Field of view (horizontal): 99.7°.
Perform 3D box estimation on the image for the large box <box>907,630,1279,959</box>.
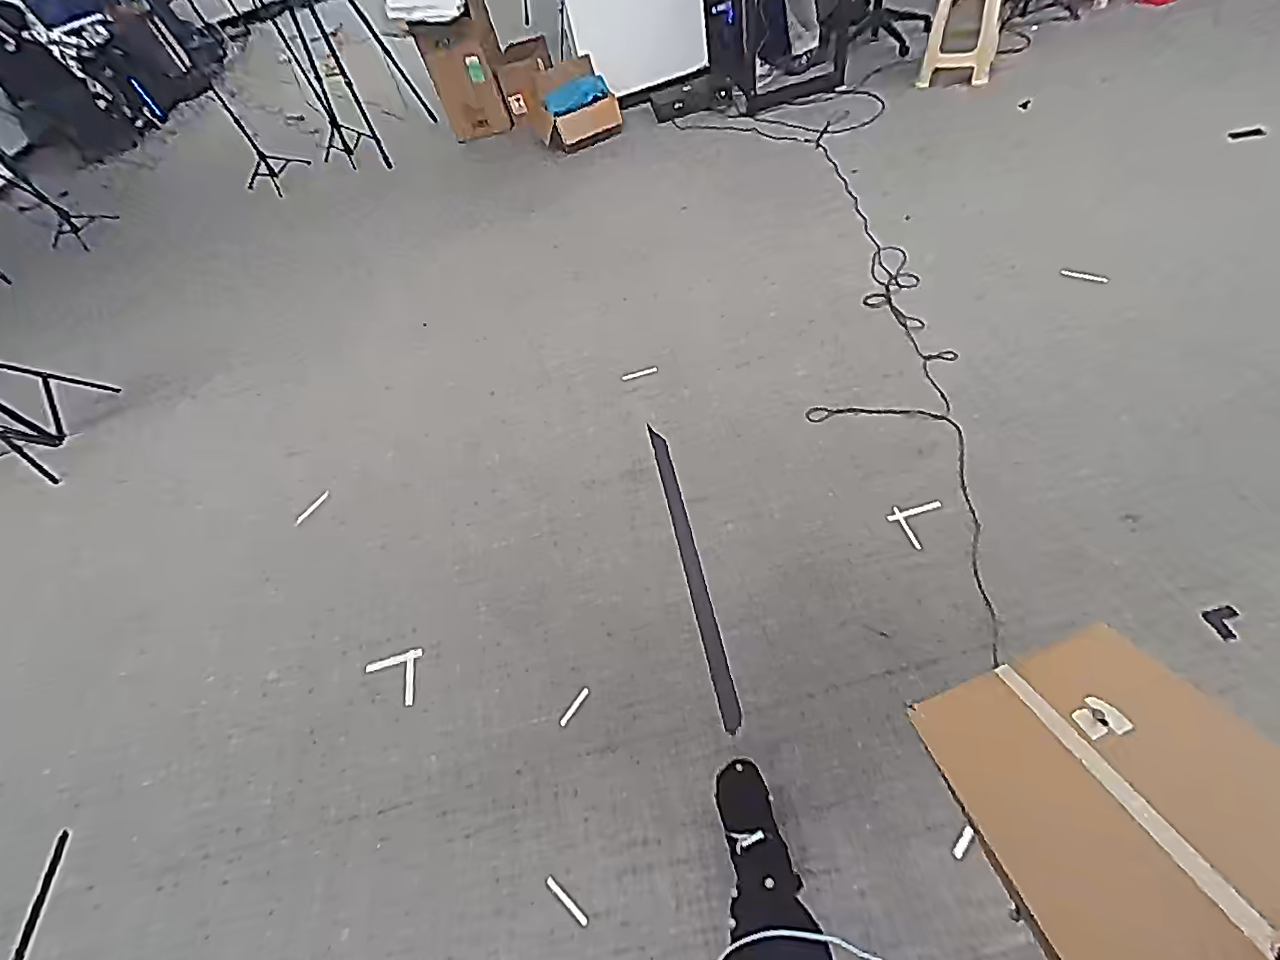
[{"bbox_3d":[0.629,0.477,0.682,0.320,0.320,0.408,-29,15,9],"label":"large box"}]
